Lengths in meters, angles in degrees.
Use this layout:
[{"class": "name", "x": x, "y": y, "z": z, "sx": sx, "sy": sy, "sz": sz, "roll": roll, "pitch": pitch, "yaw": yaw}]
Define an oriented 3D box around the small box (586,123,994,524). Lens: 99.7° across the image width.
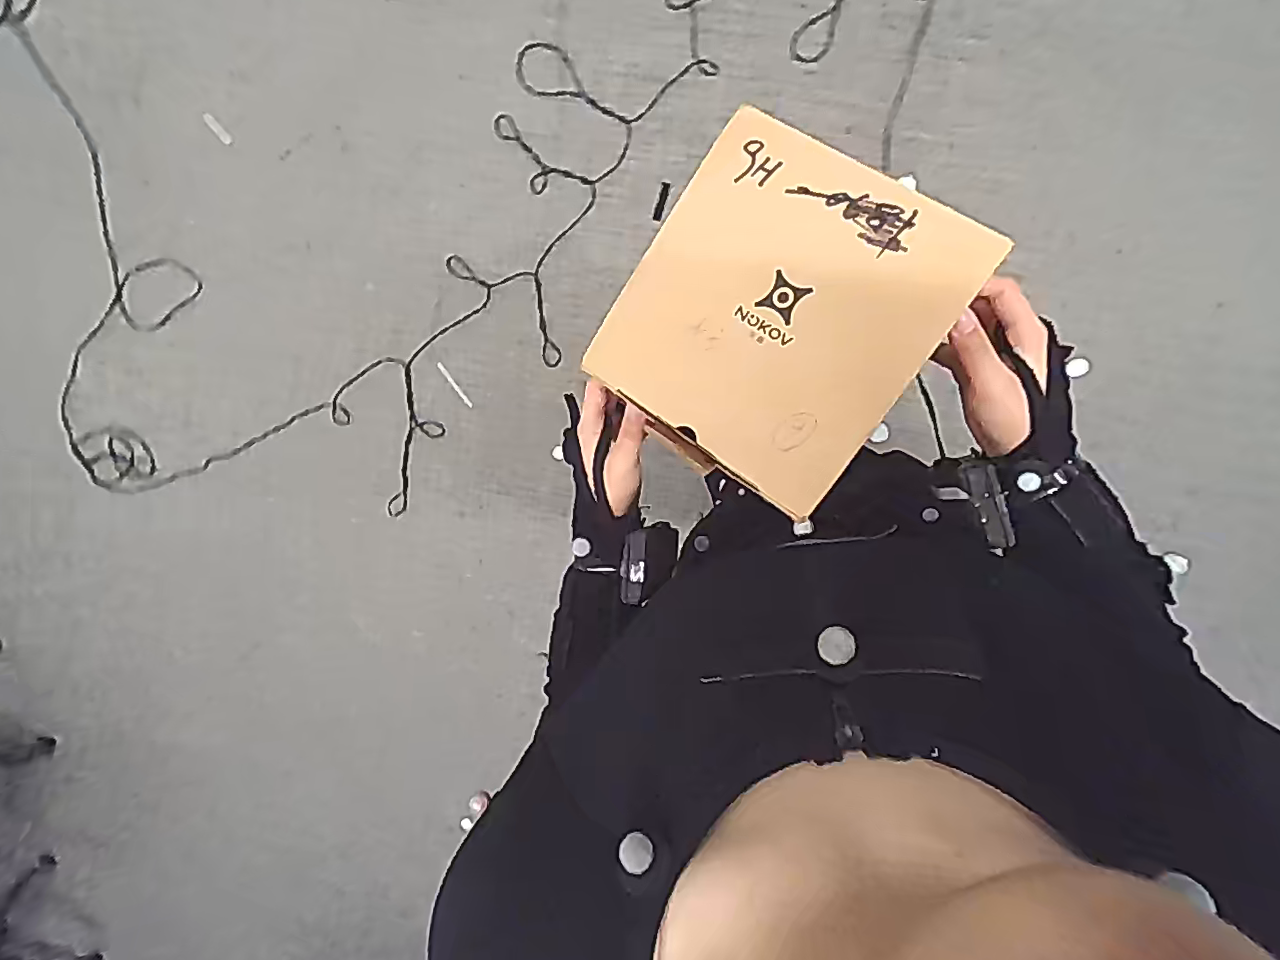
[{"class": "small box", "x": 0.098, "y": -0.091, "z": 0.384, "sx": 0.168, "sy": 0.176, "sz": 0.179, "roll": 36, "pitch": 102, "yaw": 13}]
